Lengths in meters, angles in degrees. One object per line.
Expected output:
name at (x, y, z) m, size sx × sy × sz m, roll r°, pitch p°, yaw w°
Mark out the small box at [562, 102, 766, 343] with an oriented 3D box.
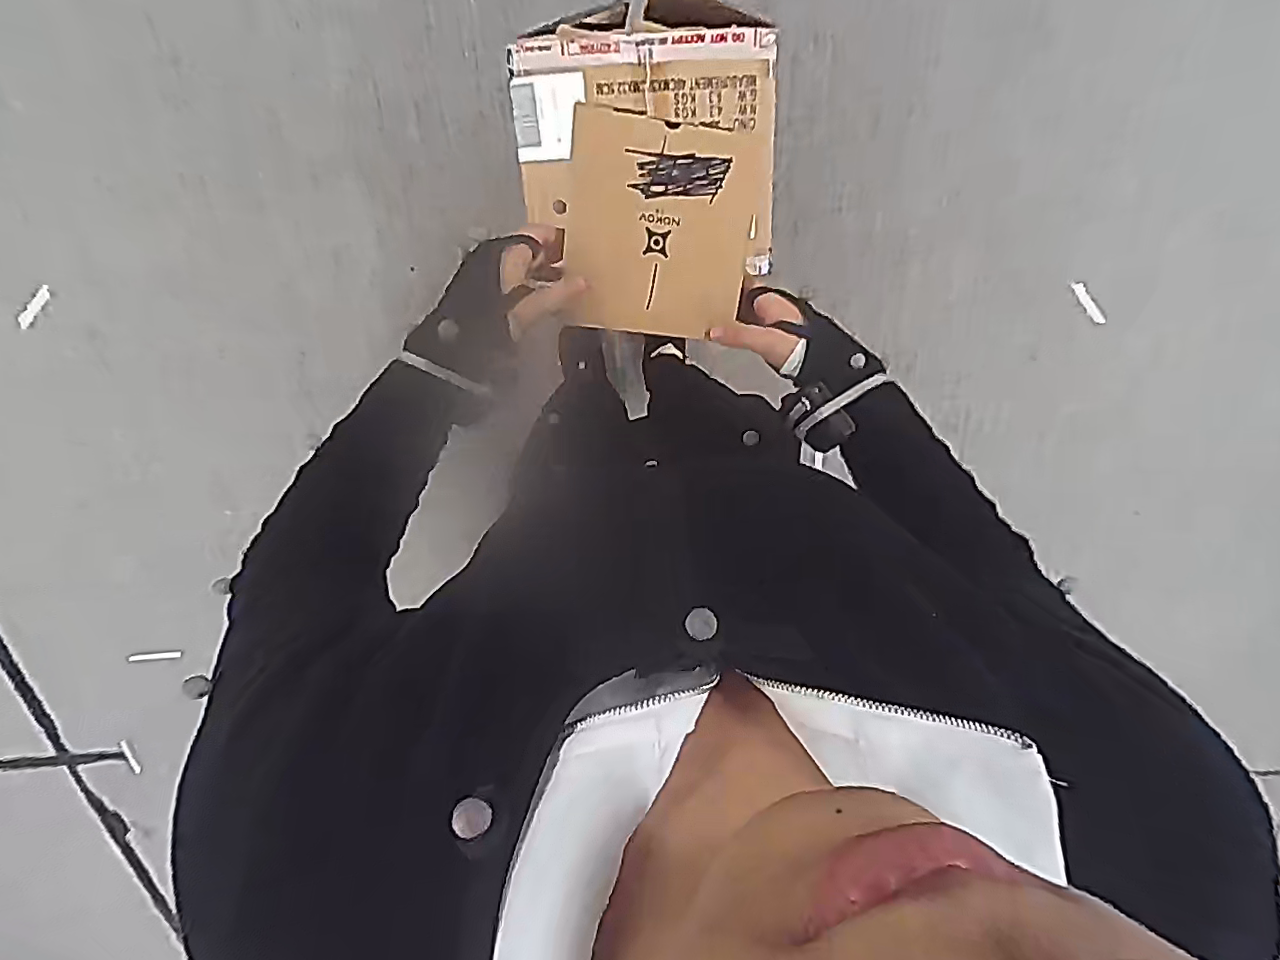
small box at (0.009, -0.245, 0.548) m, size 0.168 × 0.176 × 0.179 m, roll 4°, pitch 110°, yaw -8°
